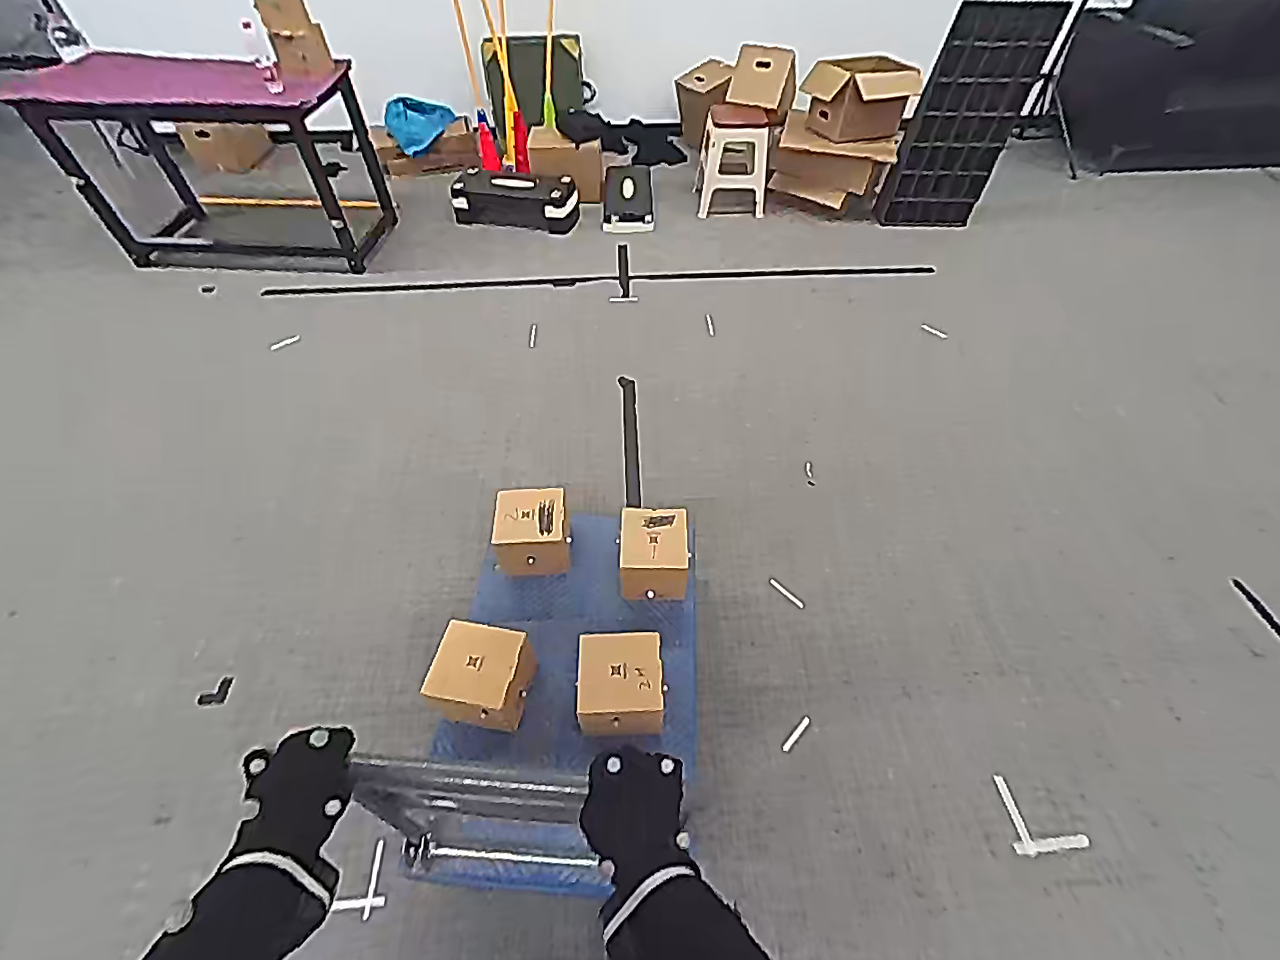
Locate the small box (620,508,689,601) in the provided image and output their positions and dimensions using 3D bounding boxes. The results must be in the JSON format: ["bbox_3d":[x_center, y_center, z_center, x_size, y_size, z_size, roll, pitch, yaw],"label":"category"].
[{"bbox_3d":[0.035,0.191,1.386,0.168,0.176,0.179,1,52,1],"label":"small box"}]

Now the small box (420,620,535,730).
[{"bbox_3d":[-0.346,0.431,1.189,0.179,0.176,0.168,9,51,5],"label":"small box"}]

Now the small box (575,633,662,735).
[{"bbox_3d":[-0.043,0.447,1.176,0.179,0.176,0.168,-1,50,-1],"label":"small box"}]
